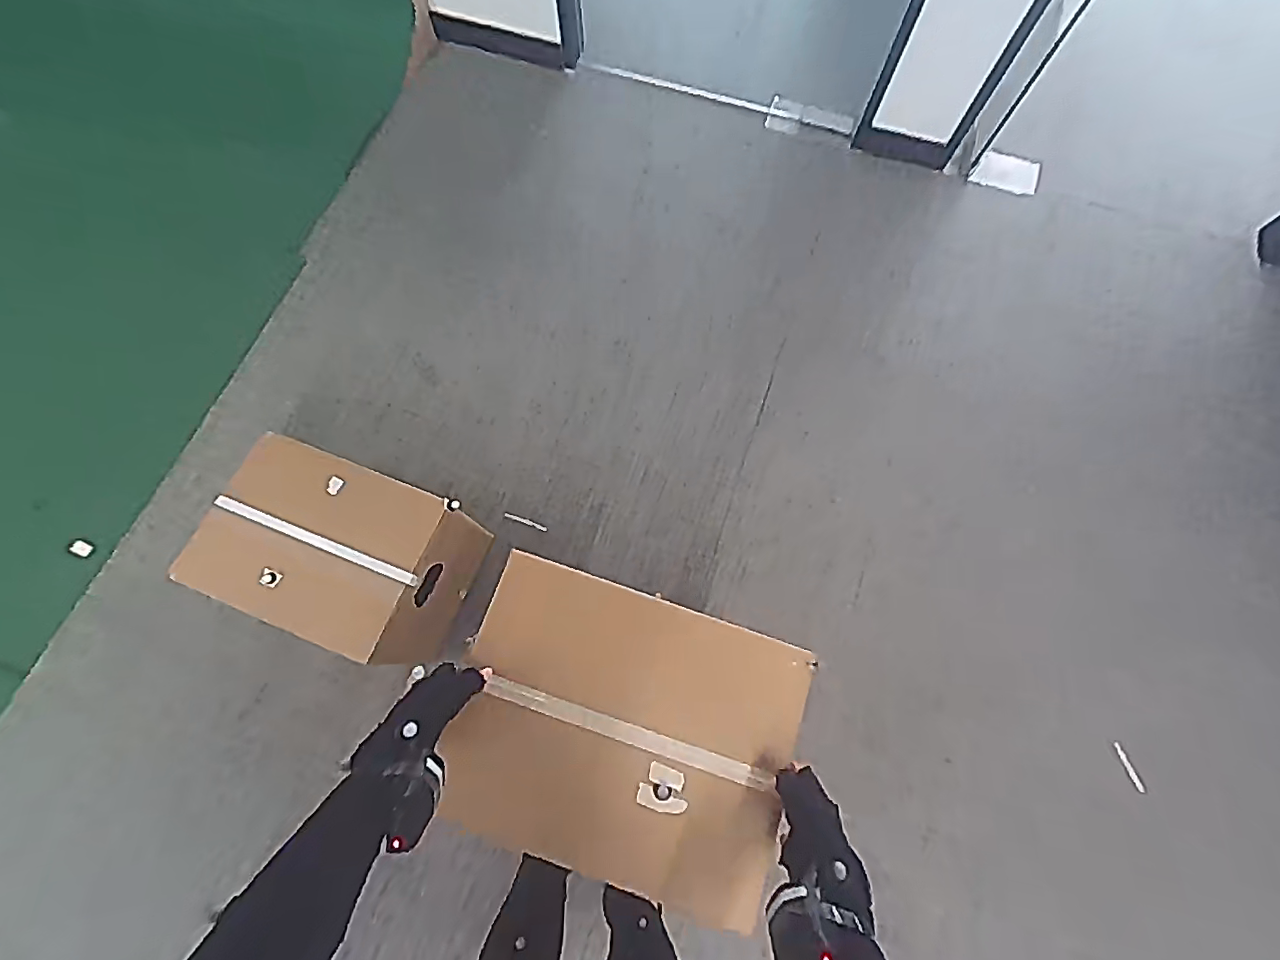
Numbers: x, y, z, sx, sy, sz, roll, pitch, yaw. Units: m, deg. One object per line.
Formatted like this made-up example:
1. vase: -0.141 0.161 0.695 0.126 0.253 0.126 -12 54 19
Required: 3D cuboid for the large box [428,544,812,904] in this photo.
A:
1. large box: -0.022 0.321 0.801 0.408 0.320 0.320 19 75 3
